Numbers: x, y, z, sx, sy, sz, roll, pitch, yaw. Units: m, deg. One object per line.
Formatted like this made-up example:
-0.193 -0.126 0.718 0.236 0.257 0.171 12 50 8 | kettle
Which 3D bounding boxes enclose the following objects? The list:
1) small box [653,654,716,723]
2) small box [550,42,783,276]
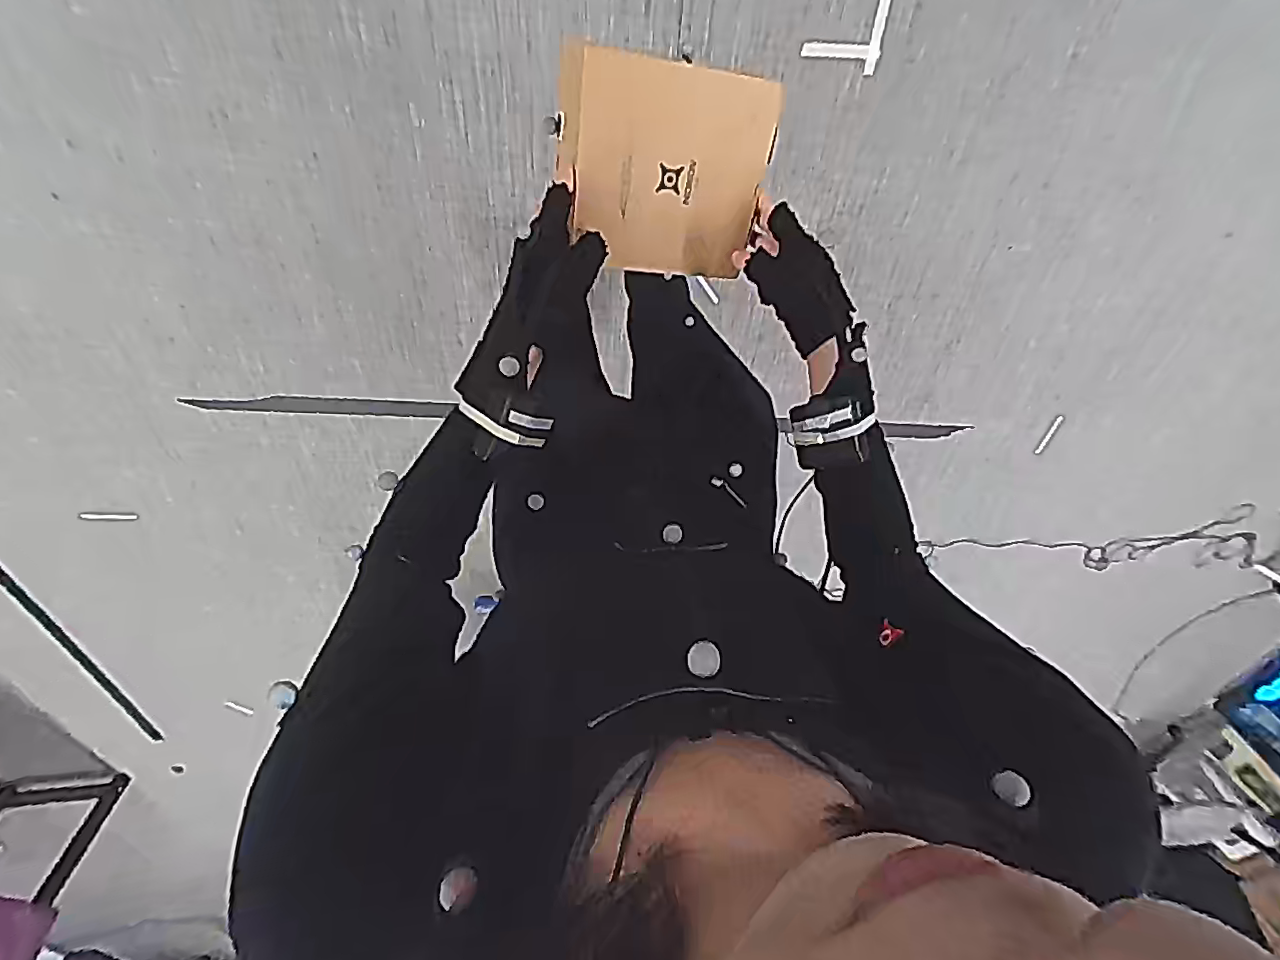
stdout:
0.152 0.745 1.936 0.179 0.176 0.168 10 126 -11 | small box
0.009 -0.321 0.542 0.179 0.176 0.168 -1 130 -15 | small box
